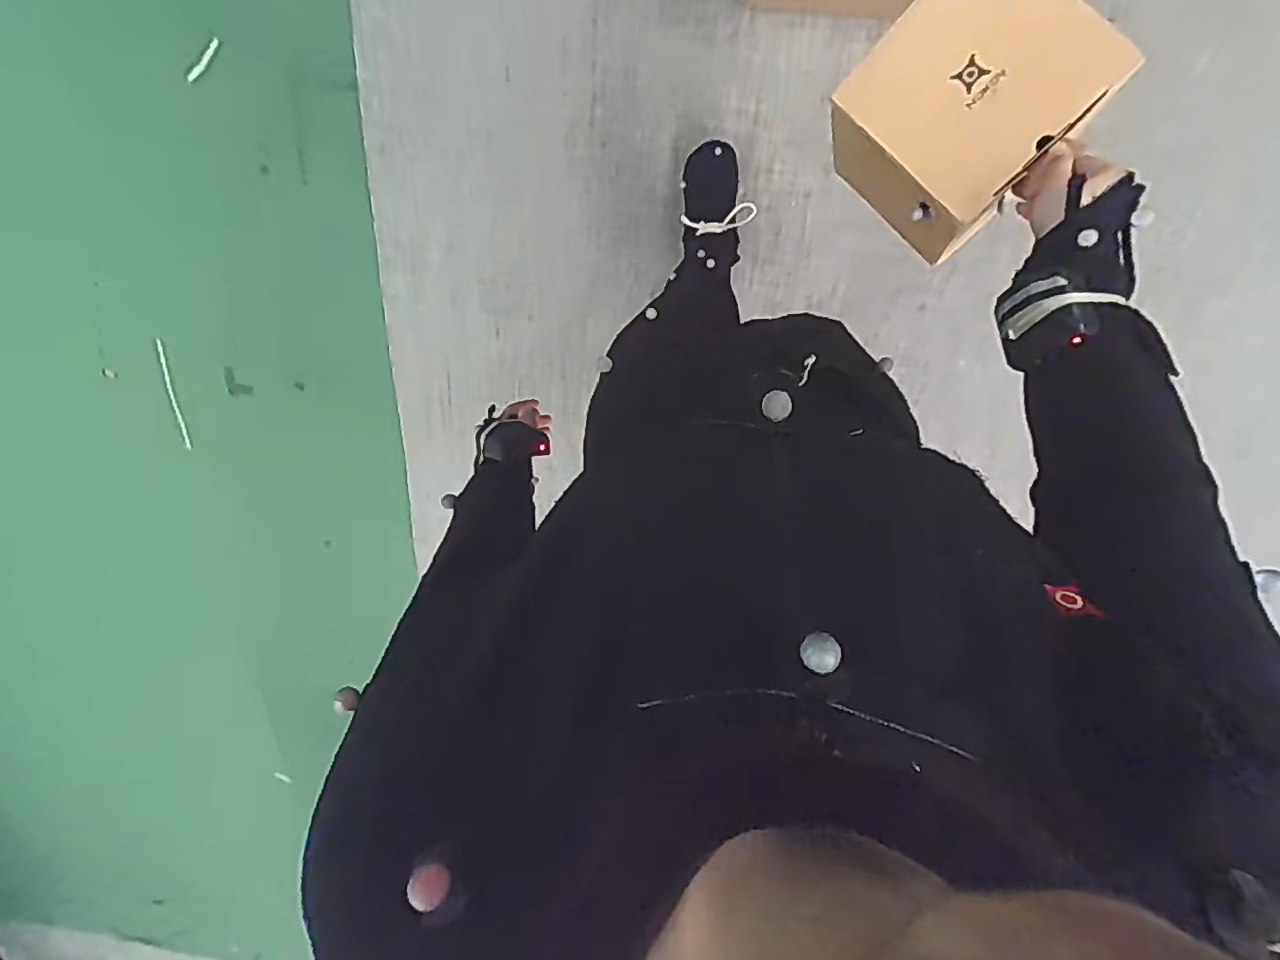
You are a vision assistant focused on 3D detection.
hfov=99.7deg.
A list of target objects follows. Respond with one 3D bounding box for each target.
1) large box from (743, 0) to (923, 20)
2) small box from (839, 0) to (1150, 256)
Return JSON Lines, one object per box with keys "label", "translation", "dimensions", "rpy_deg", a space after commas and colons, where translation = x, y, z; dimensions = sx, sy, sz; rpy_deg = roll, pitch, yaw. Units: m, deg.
{"label": "large box", "translation": [0.378, -0.923, 0.794], "dimensions": [0.408, 0.320, 0.320], "rpy_deg": [6, 116, 4]}
{"label": "small box", "translation": [0.319, -0.354, 0.537], "dimensions": [0.168, 0.176, 0.179], "rpy_deg": [-44, 83, 21]}
